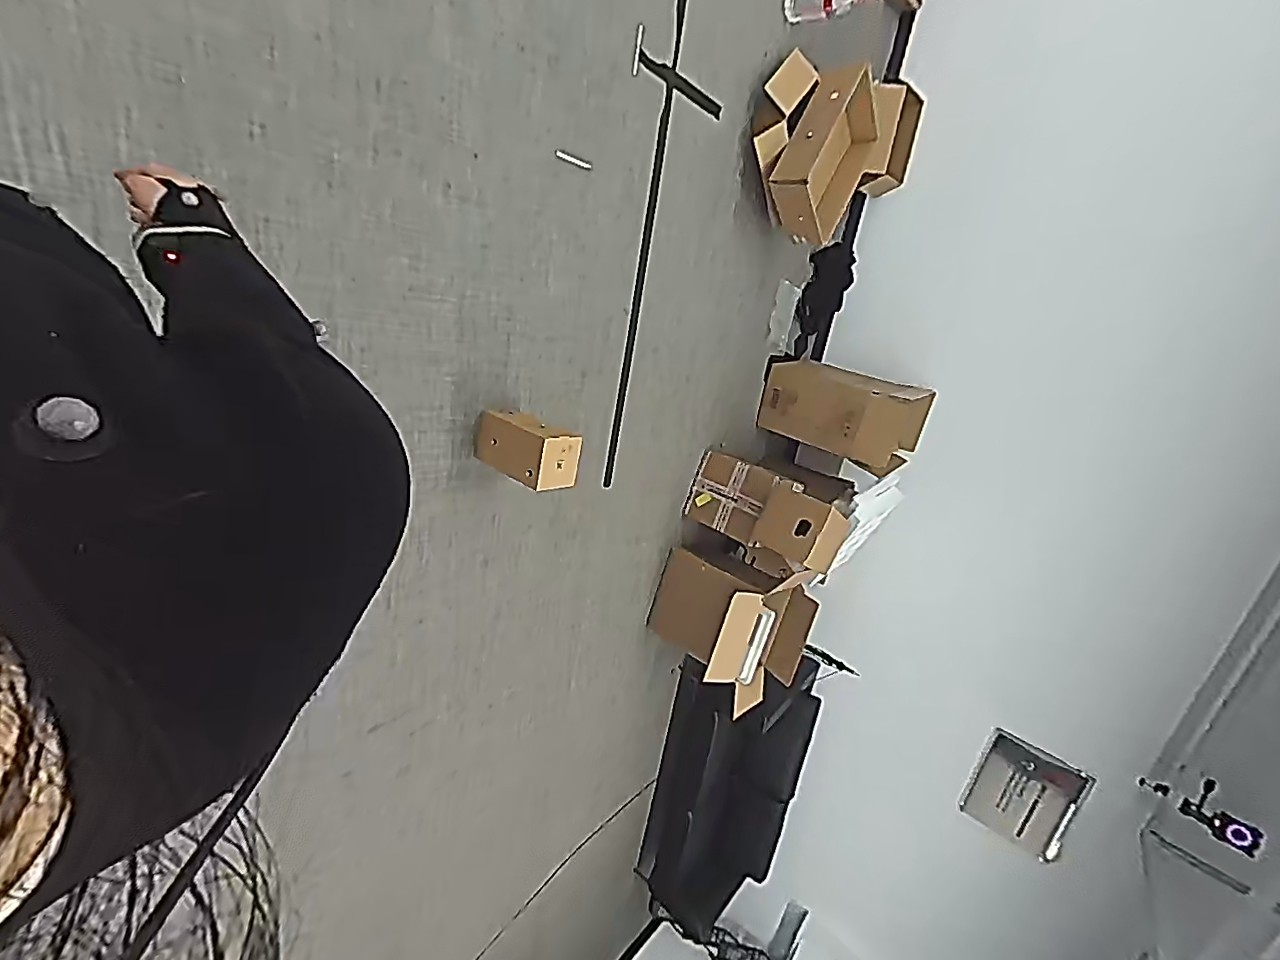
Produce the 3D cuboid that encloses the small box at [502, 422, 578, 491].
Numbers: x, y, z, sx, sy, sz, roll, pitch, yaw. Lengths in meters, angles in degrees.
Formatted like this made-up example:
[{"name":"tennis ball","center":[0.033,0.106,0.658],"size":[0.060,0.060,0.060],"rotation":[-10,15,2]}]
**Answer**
[{"name":"small box","center":[-0.329,-0.081,1.758],"size":[0.168,0.176,0.179],"rotation":[-8,115,-52]}]
